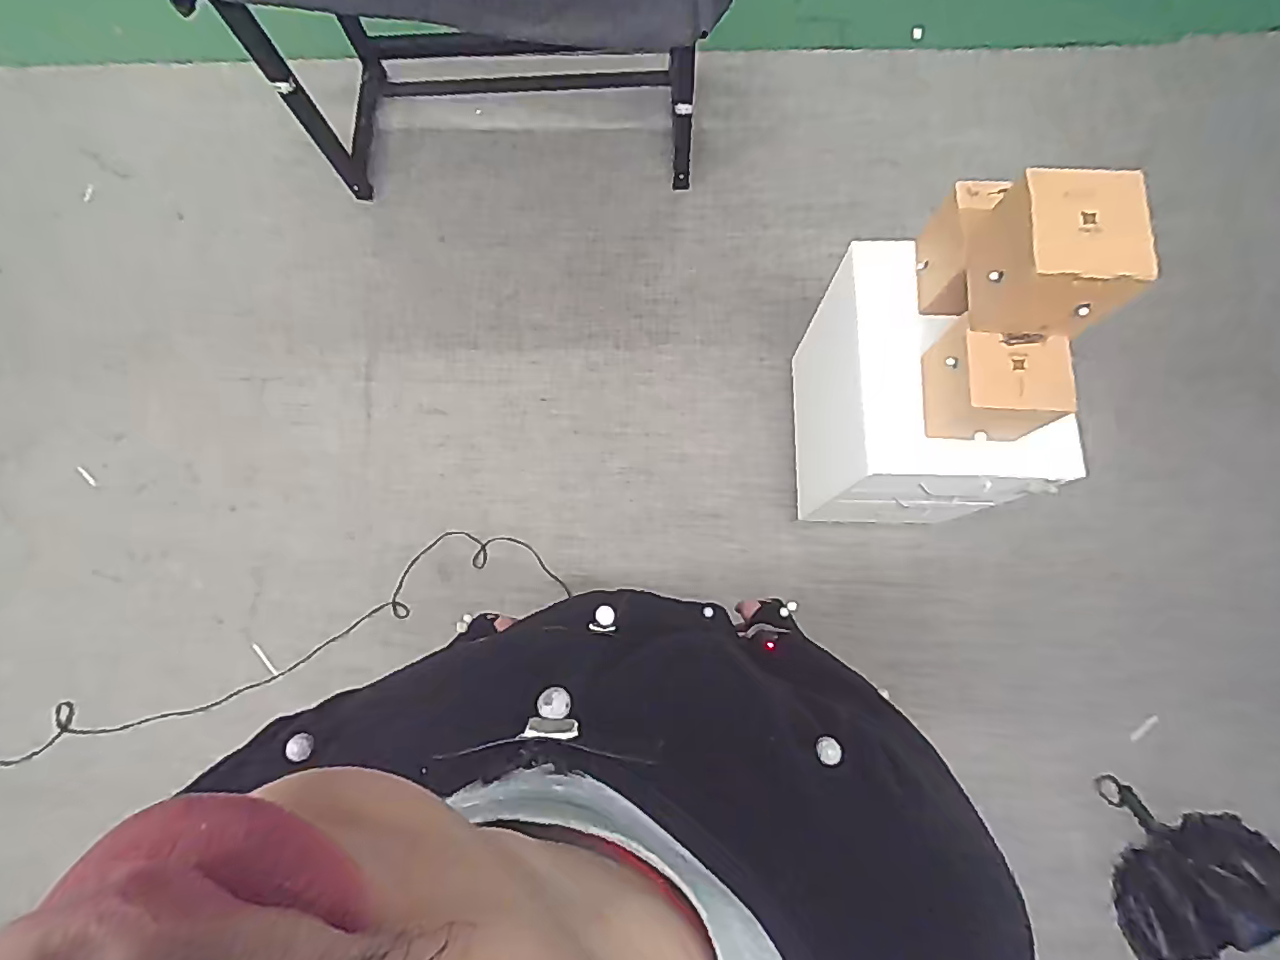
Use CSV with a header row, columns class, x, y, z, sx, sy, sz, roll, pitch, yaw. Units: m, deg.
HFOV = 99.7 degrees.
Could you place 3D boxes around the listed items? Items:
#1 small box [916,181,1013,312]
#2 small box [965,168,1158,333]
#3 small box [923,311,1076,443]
class,x,y,z,sx,sy,sz,roll,pitch,yaw
small box,0.644,-0.430,1.021,0.168,0.176,0.179,2,79,3
small box,0.632,-0.344,0.836,0.168,0.176,0.179,3,76,2
small box,0.625,-0.178,0.963,0.168,0.176,0.179,4,78,4
